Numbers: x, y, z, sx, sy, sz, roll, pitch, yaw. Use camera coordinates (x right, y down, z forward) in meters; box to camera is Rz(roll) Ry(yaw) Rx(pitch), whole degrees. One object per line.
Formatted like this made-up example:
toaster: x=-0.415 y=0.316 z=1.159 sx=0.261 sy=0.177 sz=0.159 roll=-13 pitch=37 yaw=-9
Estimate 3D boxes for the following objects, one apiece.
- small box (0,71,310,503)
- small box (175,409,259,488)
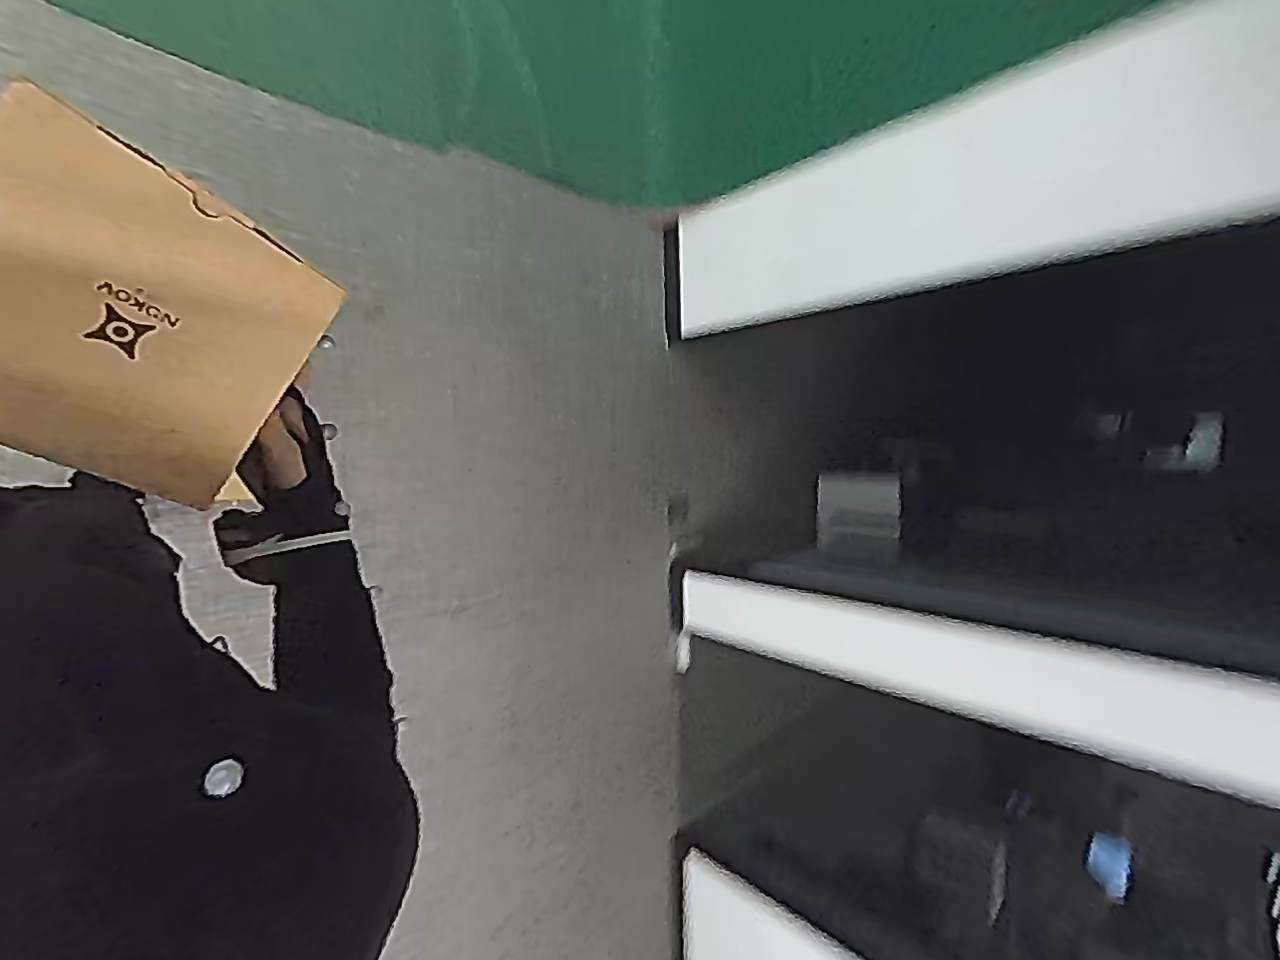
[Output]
small box: x=-0.355 y=-0.115 z=0.355 sx=0.168 sy=0.176 sz=0.179 roll=34 pitch=84 yaw=-42
small box: x=-0.926 y=-0.068 z=1.141 sx=0.179 sy=0.176 sz=0.168 roll=0 pitch=93 yaw=-45
